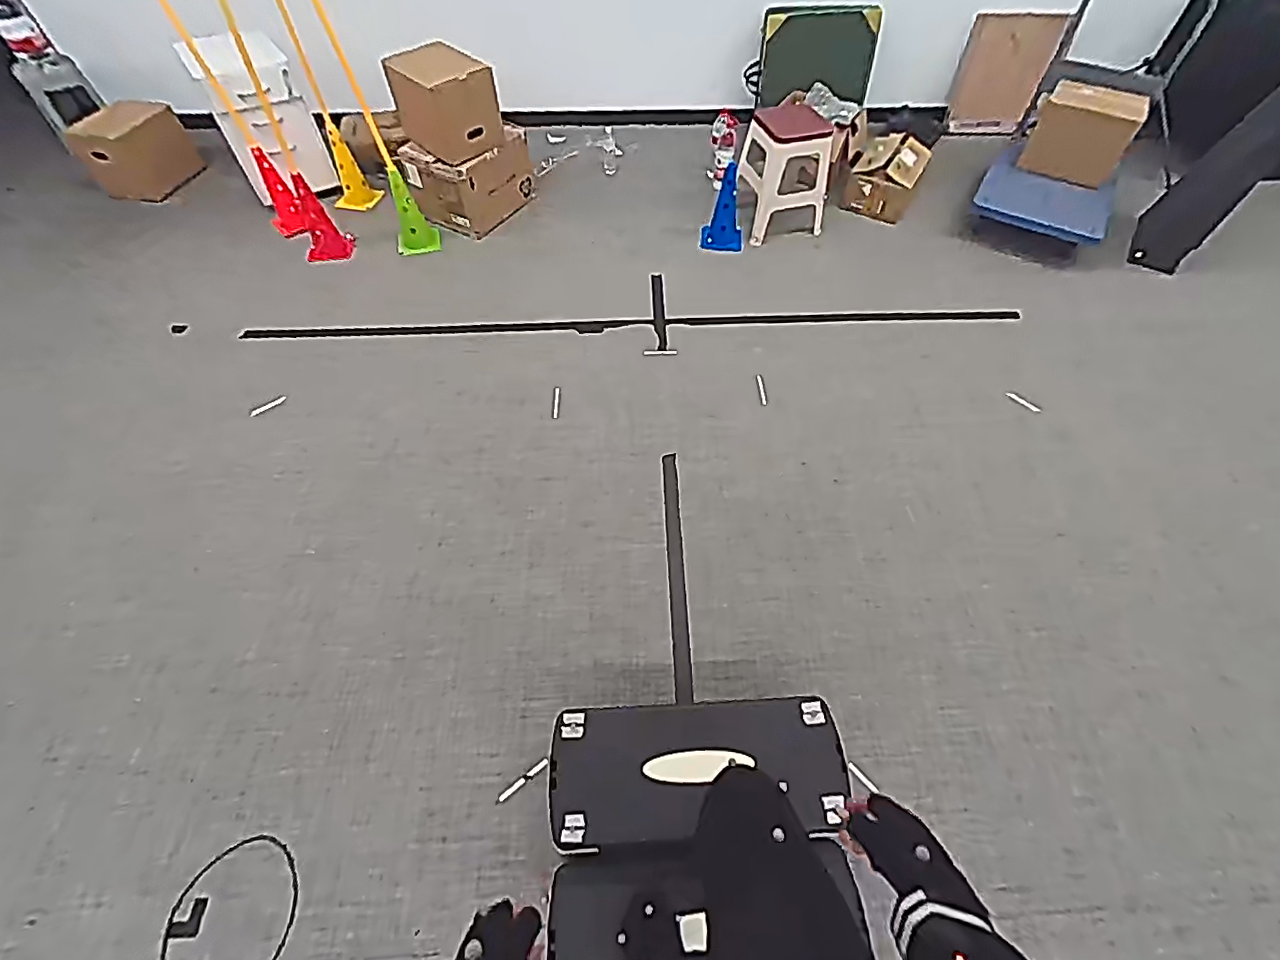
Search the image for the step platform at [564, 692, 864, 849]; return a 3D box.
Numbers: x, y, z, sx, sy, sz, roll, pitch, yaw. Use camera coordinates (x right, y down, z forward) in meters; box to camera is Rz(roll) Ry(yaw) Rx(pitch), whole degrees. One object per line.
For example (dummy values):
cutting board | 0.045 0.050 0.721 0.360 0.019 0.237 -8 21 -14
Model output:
step platform | 0.162 0.684 1.286 0.684 0.204 0.286 -2 55 -3
